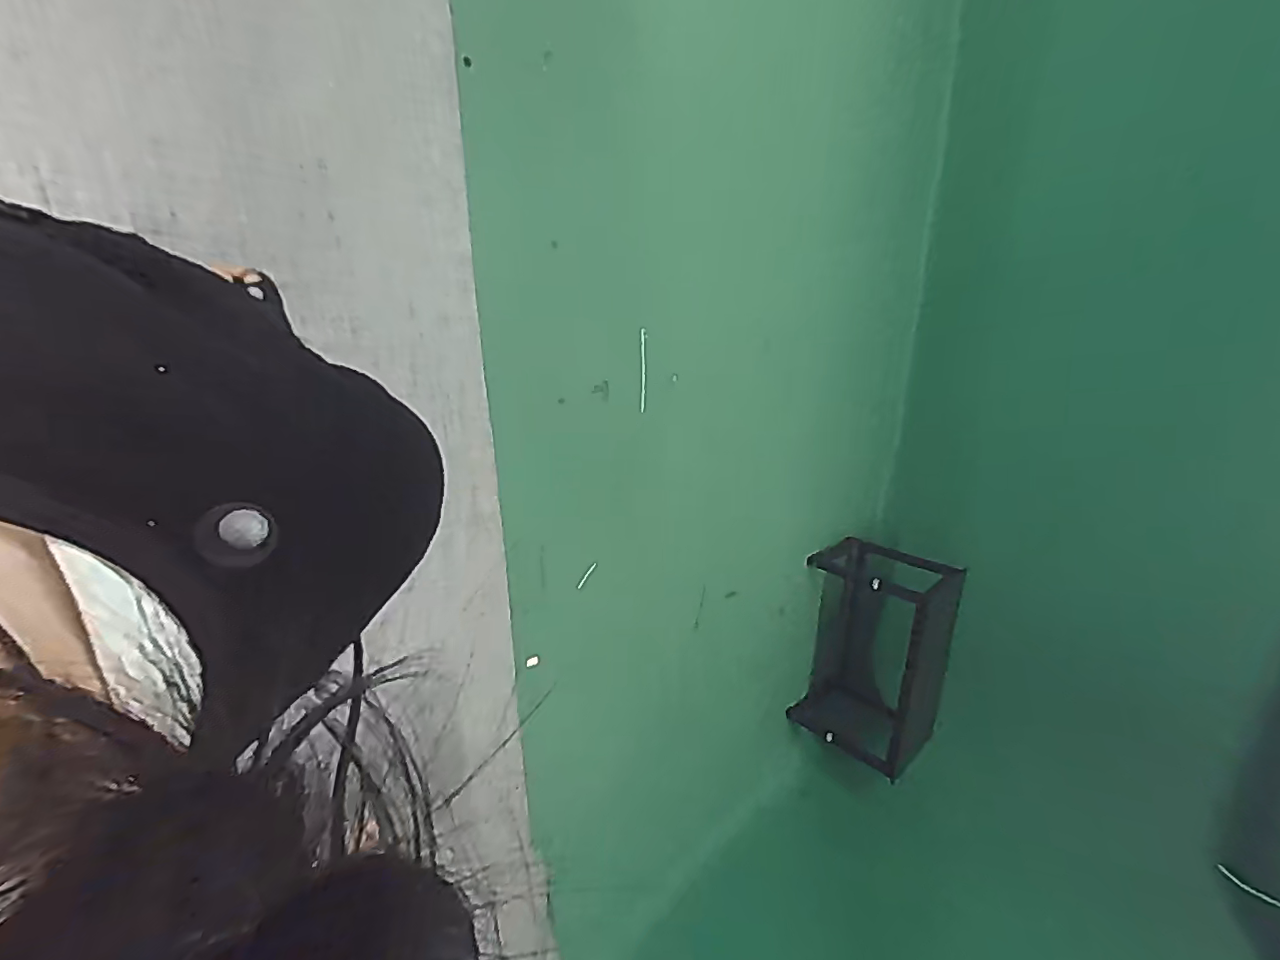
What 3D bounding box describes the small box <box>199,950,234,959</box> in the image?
[{"bbox_3d":[-0.833,1.044,1.011,0.168,0.176,0.179,-30,123,-36],"label":"small box"}]
